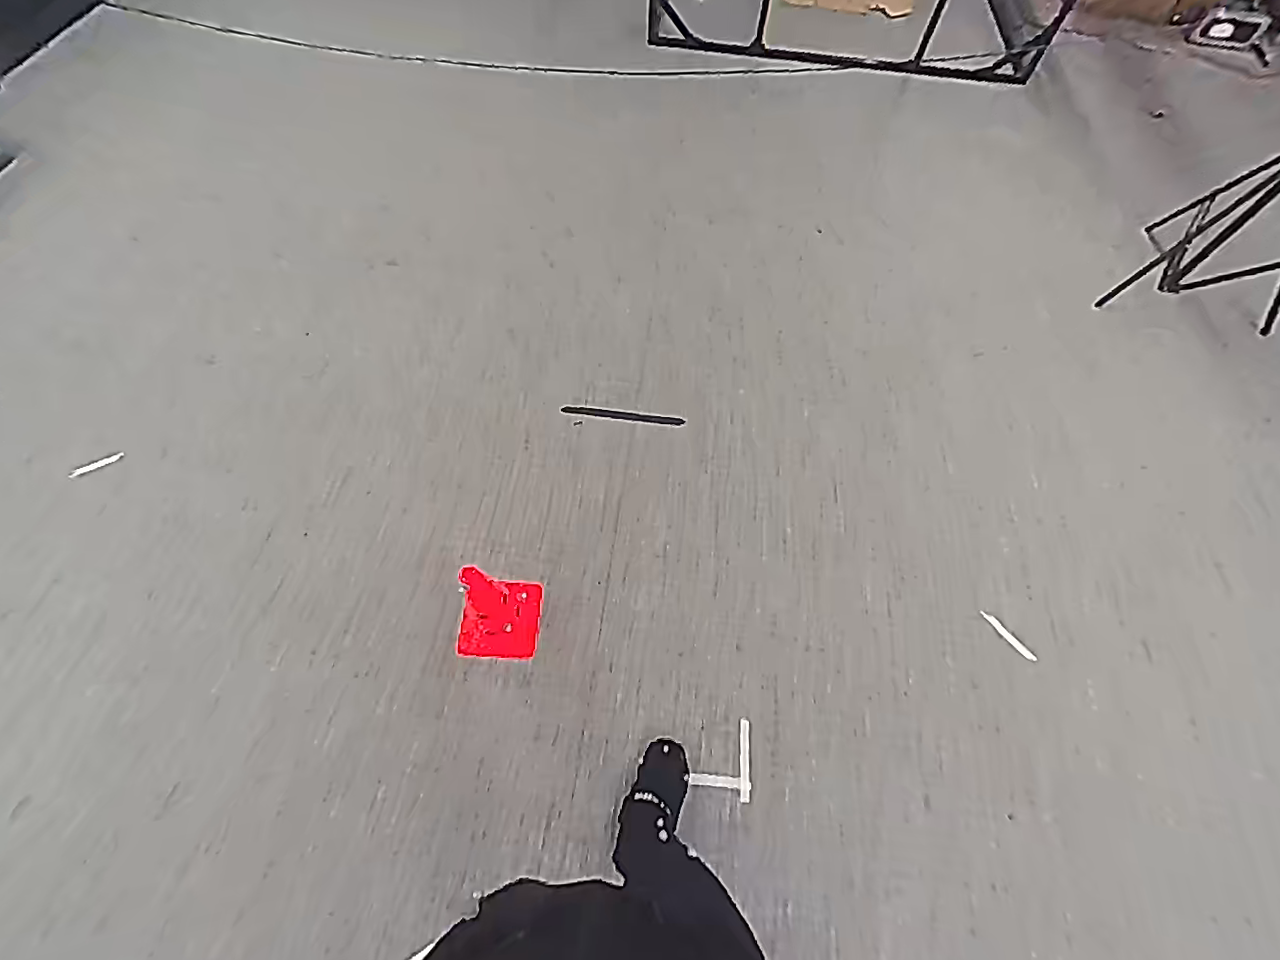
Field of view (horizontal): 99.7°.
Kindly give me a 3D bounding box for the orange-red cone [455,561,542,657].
[{"bbox_3d":[-0.359,0.267,1.241,0.199,0.360,0.198,4,61,1],"label":"orange-red cone"}]
